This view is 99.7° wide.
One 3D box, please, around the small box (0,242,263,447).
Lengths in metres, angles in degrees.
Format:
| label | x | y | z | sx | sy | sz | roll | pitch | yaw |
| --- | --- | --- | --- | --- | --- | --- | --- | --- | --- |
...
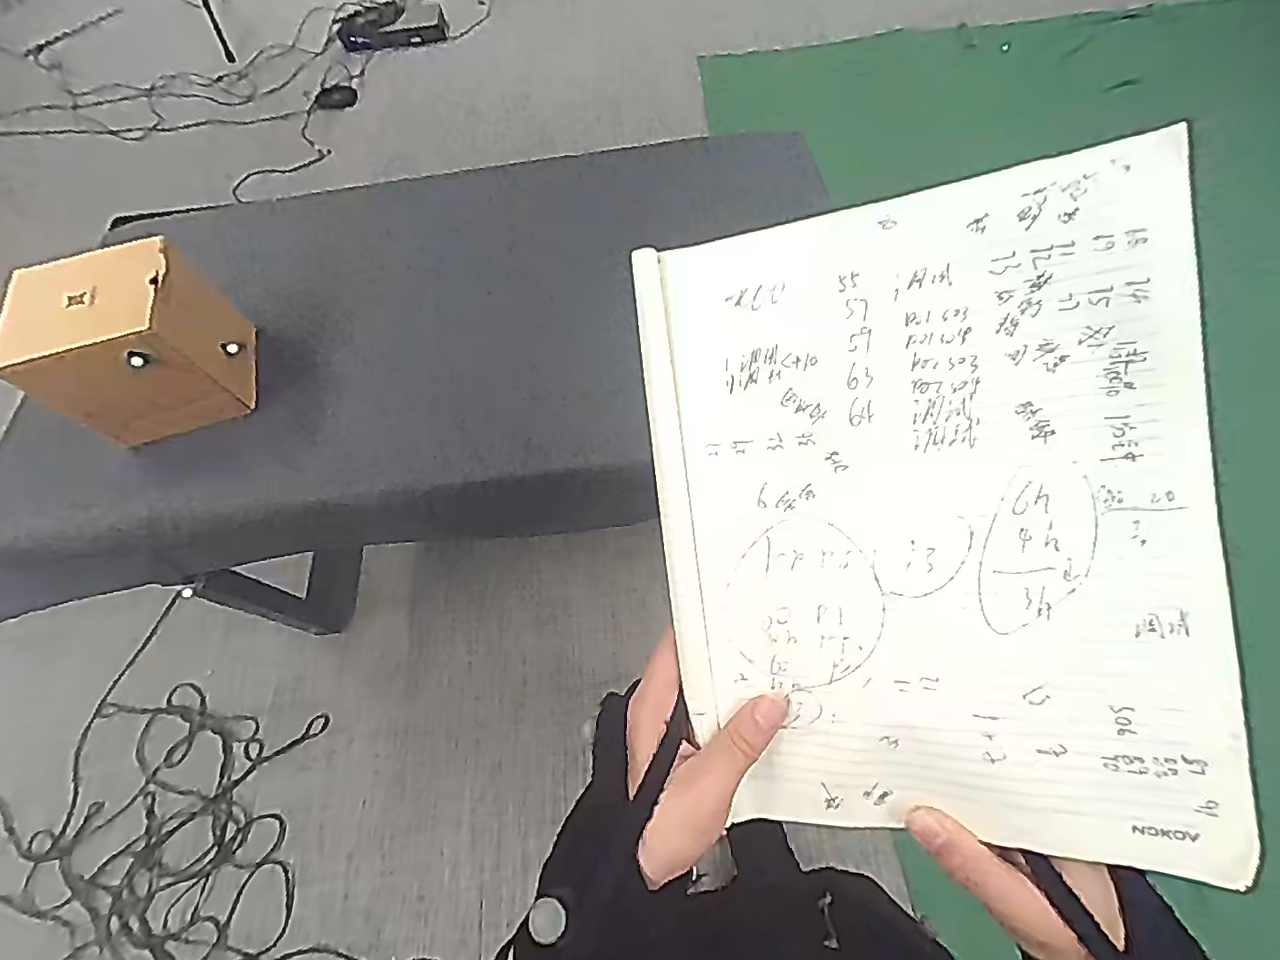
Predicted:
| label | x | y | z | sx | sy | sz | roll | pitch | yaw |
| --- | --- | --- | --- | --- | --- | --- | --- | --- | --- |
| small box | -0.633 | -0.166 | 0.698 | 0.179 | 0.176 | 0.168 | -18 | 62 | -6 |
